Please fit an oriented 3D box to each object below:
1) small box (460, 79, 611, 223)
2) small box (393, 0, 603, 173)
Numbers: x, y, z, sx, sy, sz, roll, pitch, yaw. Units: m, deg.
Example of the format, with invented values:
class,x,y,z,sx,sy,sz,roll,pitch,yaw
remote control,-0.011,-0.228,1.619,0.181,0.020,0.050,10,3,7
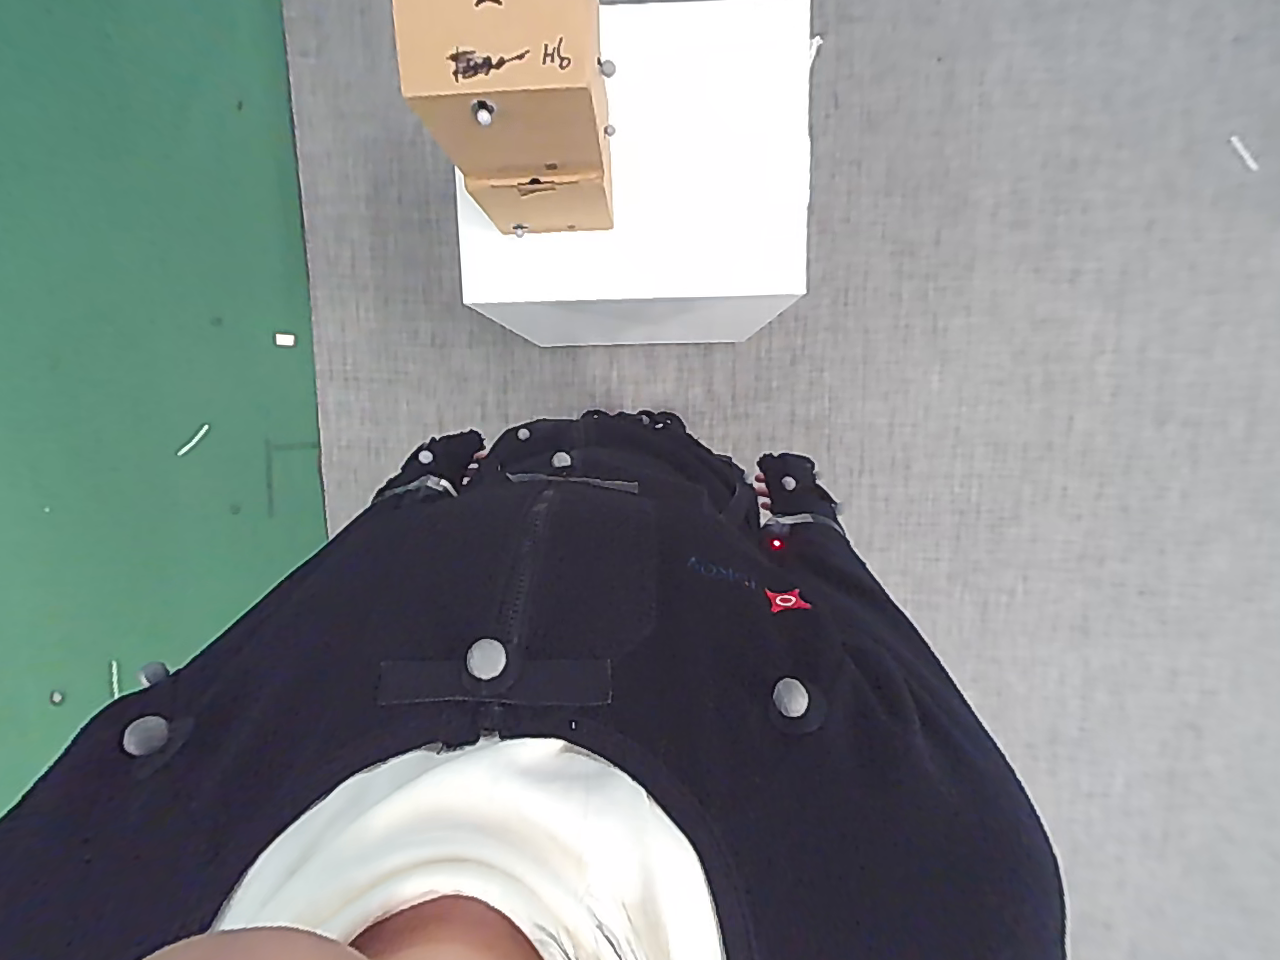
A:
class,x,y,z,sx,sy,sz,roll,pitch,yaw
small box,-0.127,-0.446,0.698,0.168,0.176,0.179,-2,97,1
small box,-0.127,-0.435,0.535,0.168,0.176,0.179,-2,97,2
